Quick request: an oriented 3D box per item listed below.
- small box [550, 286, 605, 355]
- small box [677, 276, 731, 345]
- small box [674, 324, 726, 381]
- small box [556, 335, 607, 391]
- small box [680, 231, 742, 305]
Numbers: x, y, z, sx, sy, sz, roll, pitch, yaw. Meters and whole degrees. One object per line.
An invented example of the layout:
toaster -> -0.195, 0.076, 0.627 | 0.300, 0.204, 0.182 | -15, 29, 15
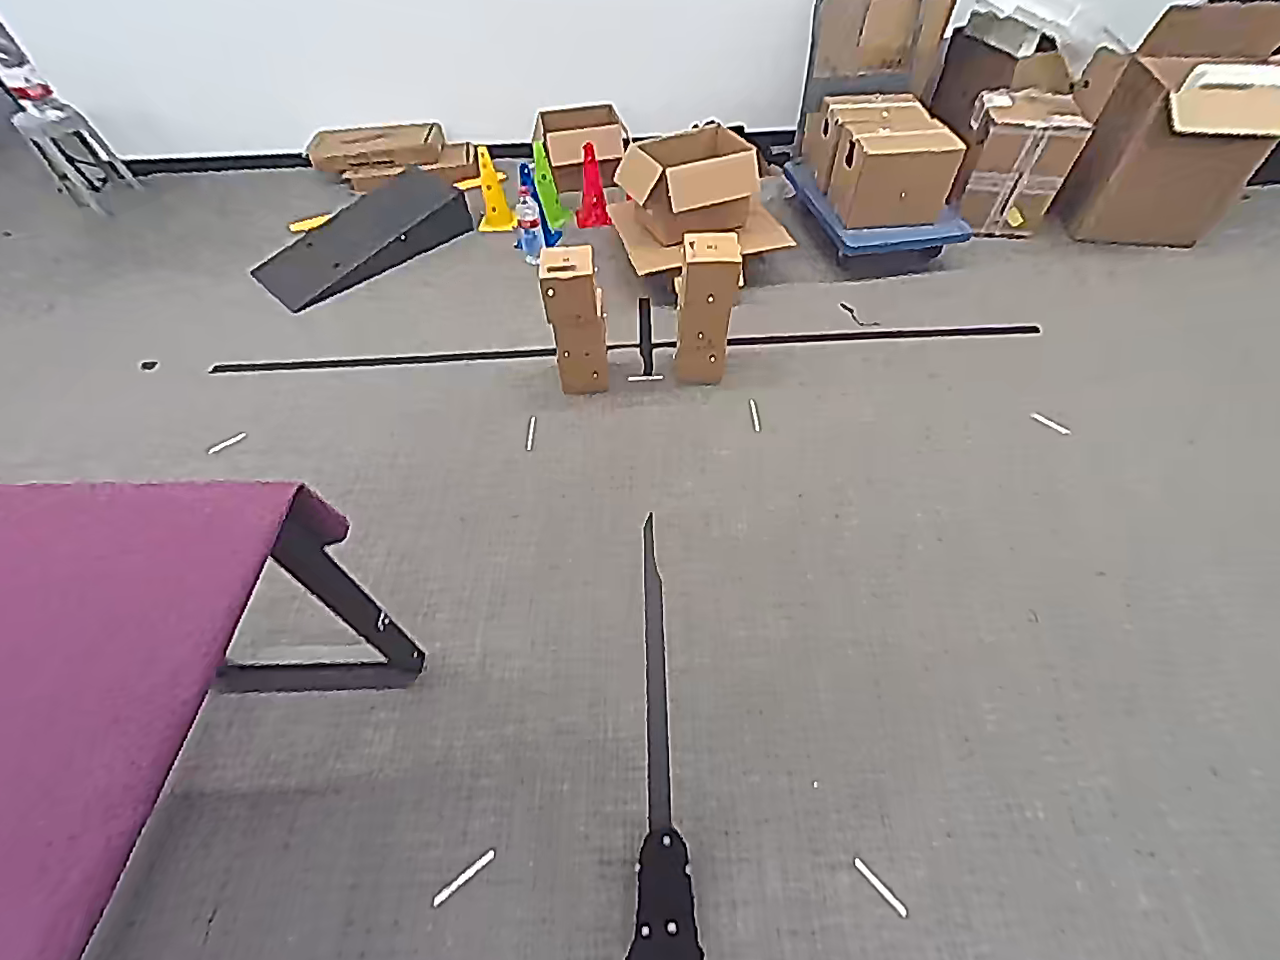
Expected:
small box -> -0.211, -0.549, 1.881 | 0.168, 0.176, 0.179 | -2, 51, 0
small box -> 0.219, -0.598, 1.907 | 0.168, 0.176, 0.179 | -2, 53, -1
small box -> 0.222, -0.488, 2.027 | 0.179, 0.176, 0.168 | 2, 52, 2
small box -> -0.213, -0.449, 2.011 | 0.179, 0.176, 0.168 | -5, 51, -1
small box -> 0.227, -0.691, 1.771 | 0.179, 0.176, 0.168 | 1, 53, 0
